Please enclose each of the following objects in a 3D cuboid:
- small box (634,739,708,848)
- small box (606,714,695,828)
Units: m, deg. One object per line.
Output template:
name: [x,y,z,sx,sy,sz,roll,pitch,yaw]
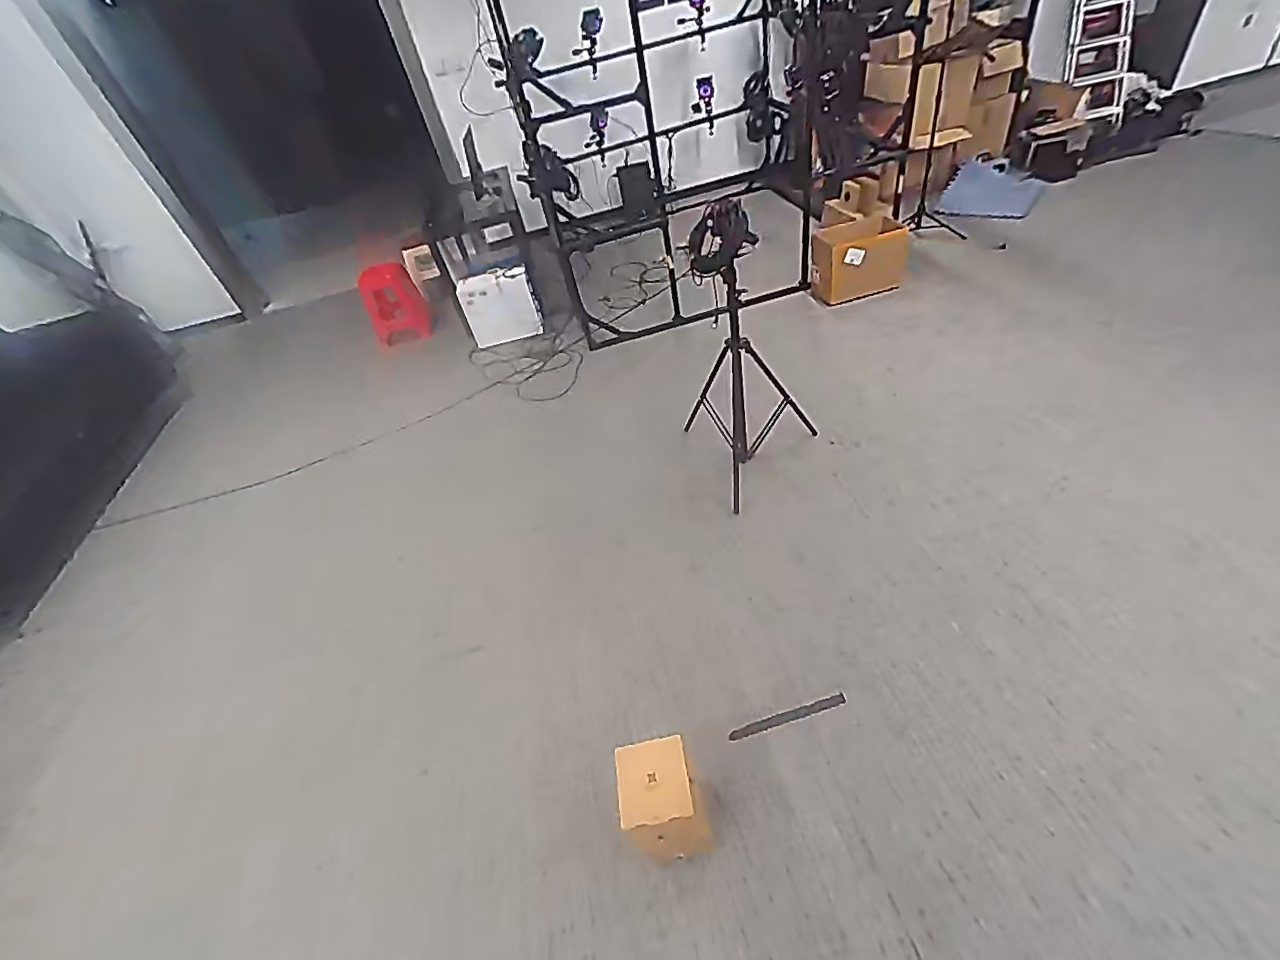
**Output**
small box: [0.065,0.790,1.361,0.168,0.176,0.179,-15,43,0]
small box: [0.024,0.676,1.254,0.168,0.176,0.179,-14,44,2]
